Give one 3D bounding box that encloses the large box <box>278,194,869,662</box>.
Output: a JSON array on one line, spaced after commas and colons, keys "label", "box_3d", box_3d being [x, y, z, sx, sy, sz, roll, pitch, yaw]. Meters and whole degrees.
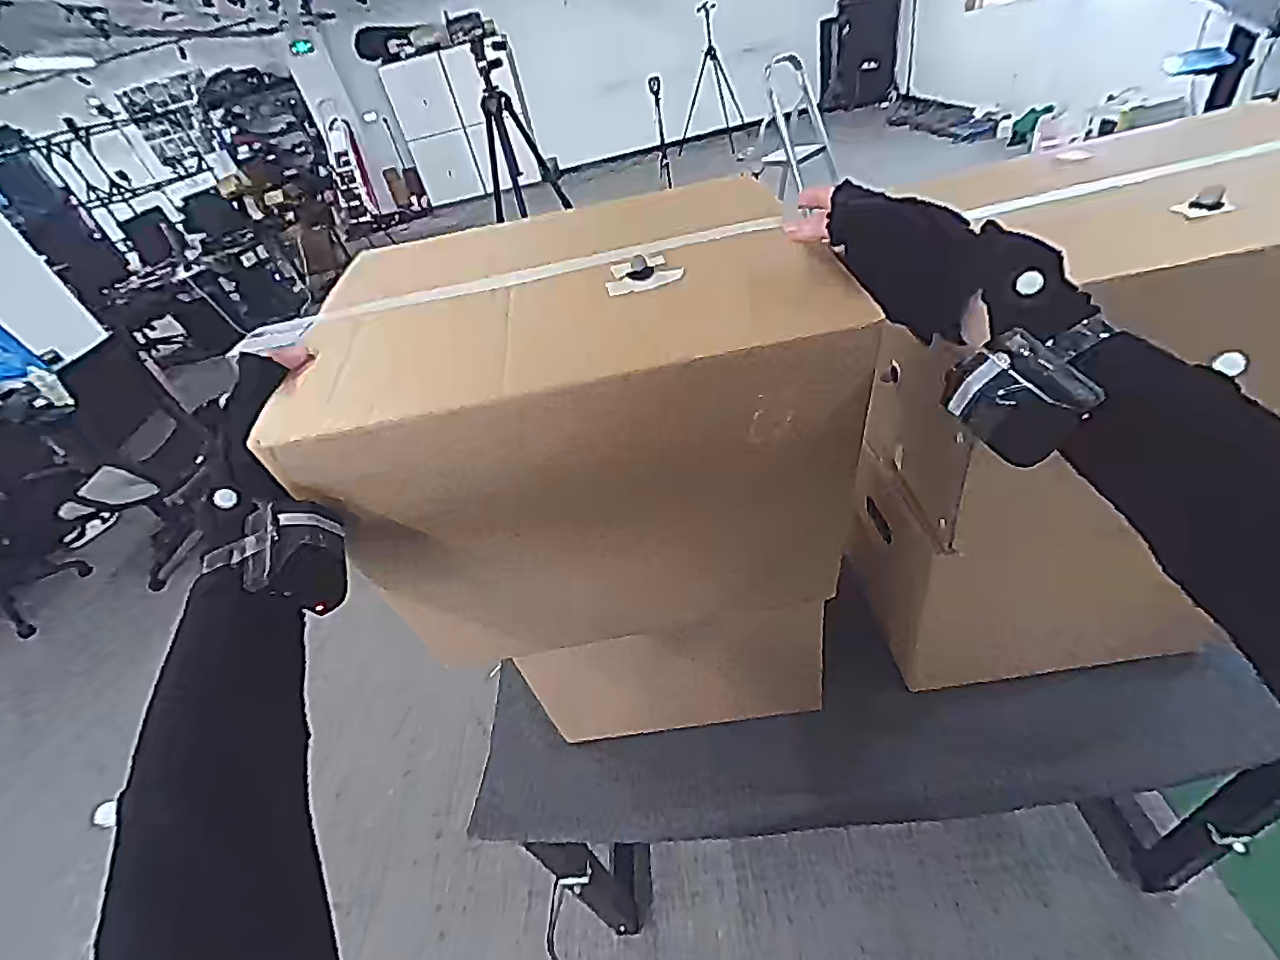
[{"label": "large box", "box_3d": [-0.044, -0.054, 0.560, 0.408, 0.320, 0.320, -10, 45, 0]}]
